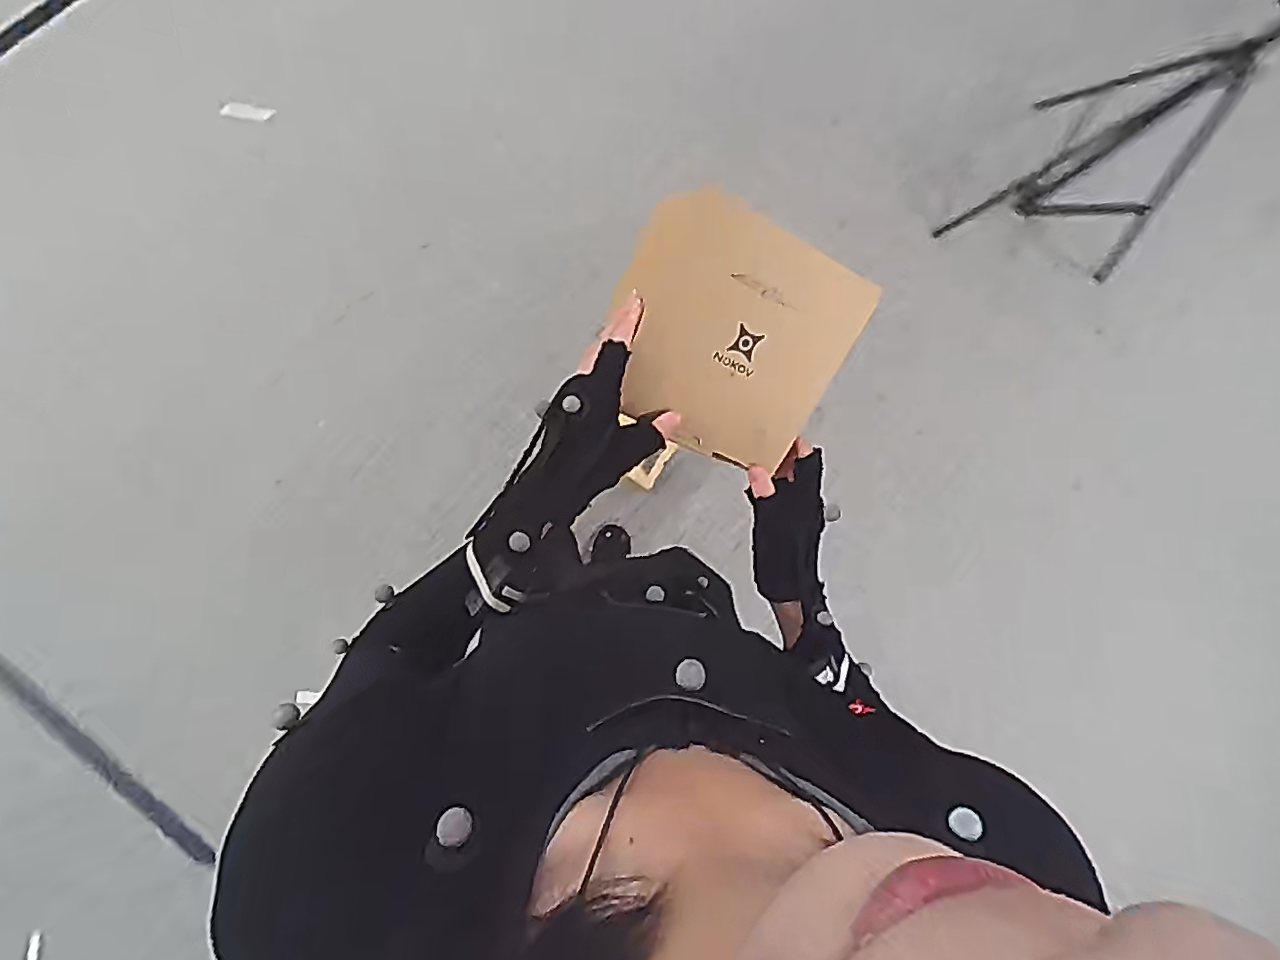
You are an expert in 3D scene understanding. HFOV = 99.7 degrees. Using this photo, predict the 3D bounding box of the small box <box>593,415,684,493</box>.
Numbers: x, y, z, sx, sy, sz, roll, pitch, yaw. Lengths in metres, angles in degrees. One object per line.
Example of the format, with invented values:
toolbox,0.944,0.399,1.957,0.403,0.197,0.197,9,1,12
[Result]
small box,-0.010,-0.079,1.455,0.179,0.176,0.168,36,83,-2

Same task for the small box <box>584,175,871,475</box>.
small box,0.058,-0.134,0.486,0.168,0.176,0.179,21,105,-20
